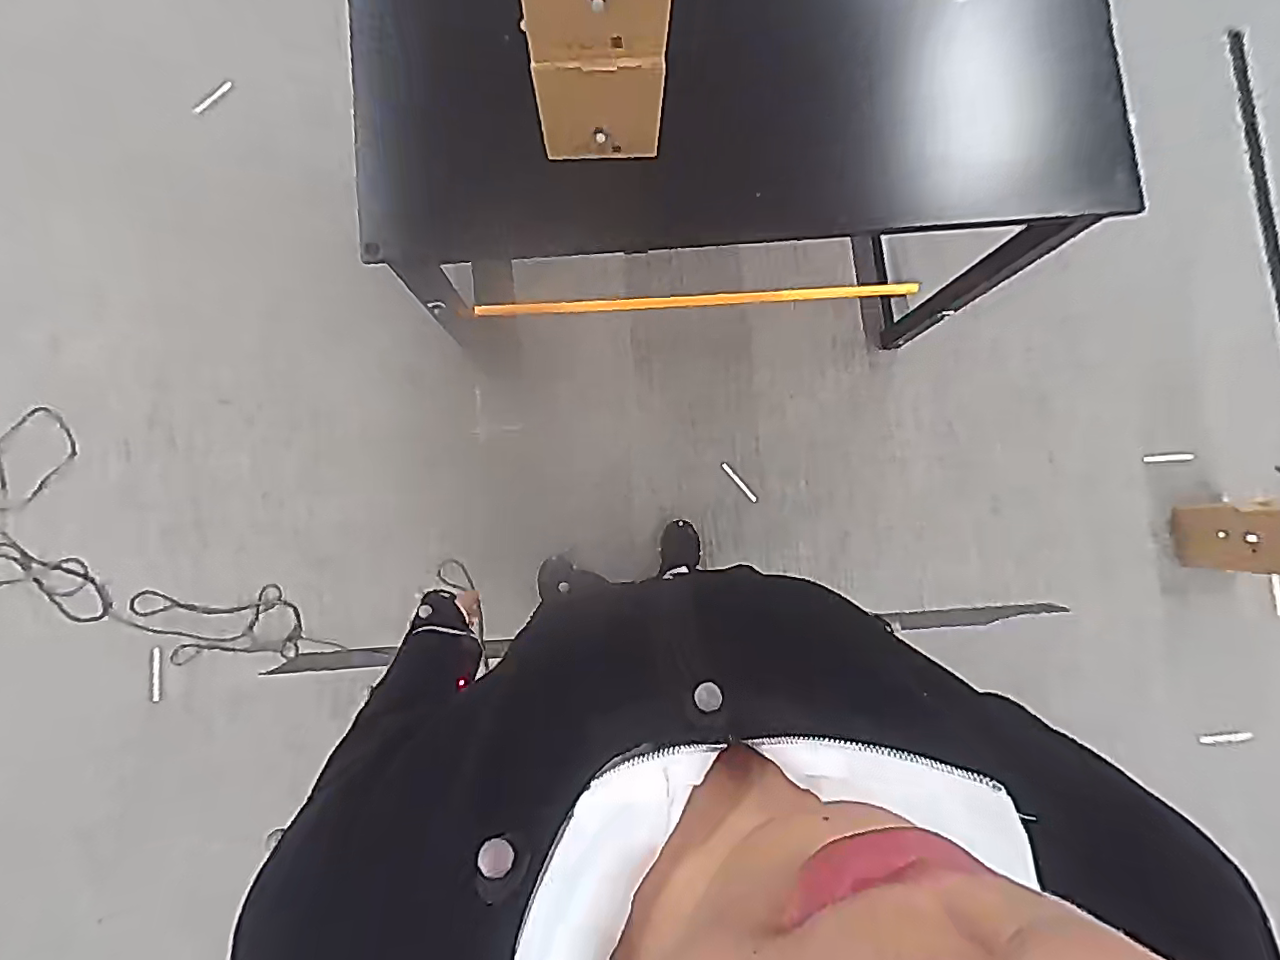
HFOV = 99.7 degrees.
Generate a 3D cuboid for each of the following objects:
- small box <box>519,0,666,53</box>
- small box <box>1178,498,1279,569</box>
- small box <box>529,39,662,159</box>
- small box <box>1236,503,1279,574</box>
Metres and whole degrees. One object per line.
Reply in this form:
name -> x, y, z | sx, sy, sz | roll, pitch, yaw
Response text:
small box -> -0.058, -0.606, 0.586 | 0.168, 0.176, 0.179 | -6, 86, -3
small box -> 1.637, 0.146, 1.479 | 0.168, 0.176, 0.179 | -6, 86, -2
small box -> -0.061, -0.582, 0.748 | 0.168, 0.176, 0.179 | -3, 85, -2
small box -> 1.640, 0.137, 1.317 | 0.179, 0.176, 0.168 | -8, 84, -1
